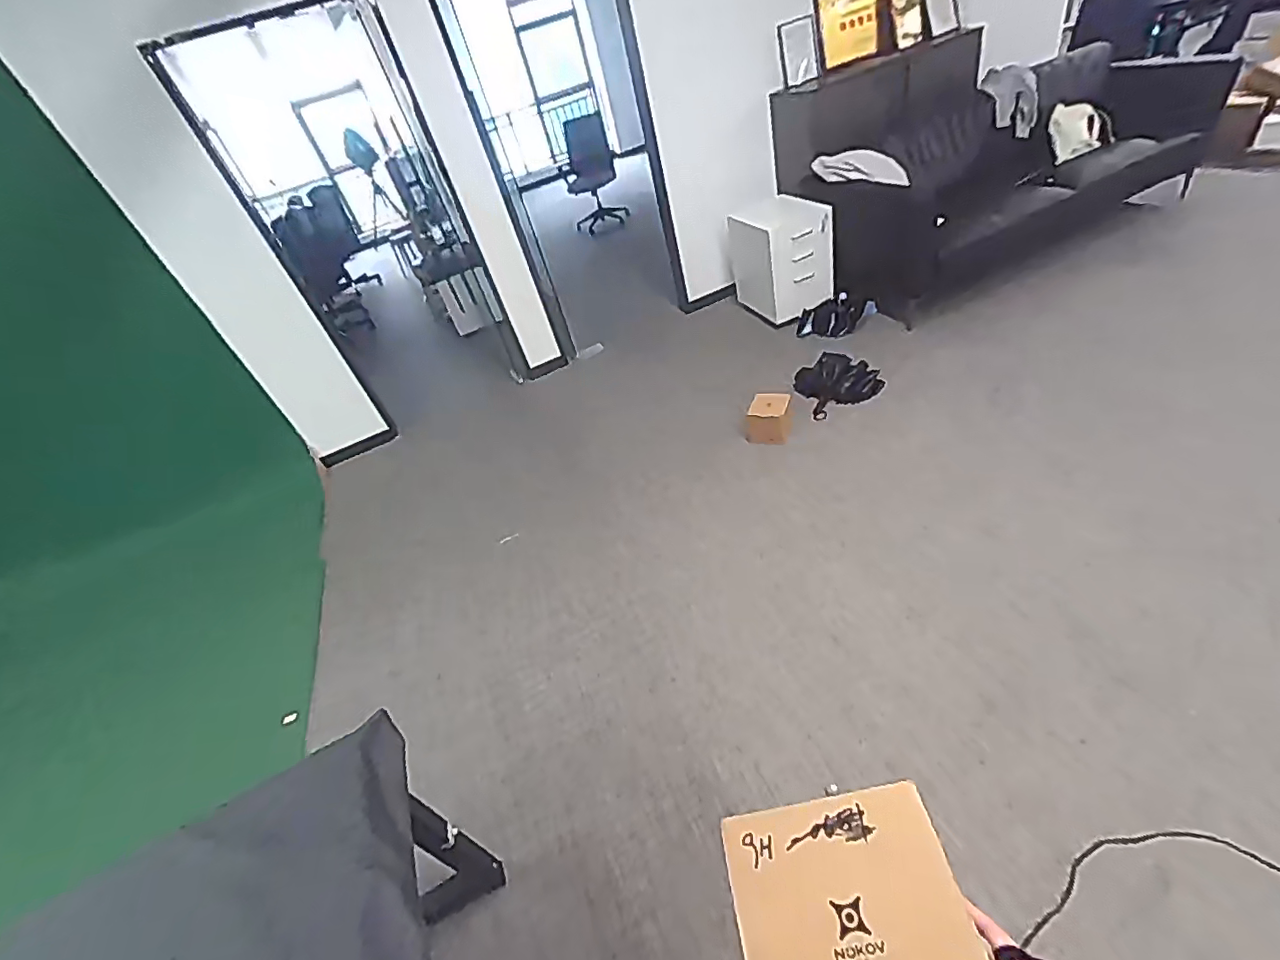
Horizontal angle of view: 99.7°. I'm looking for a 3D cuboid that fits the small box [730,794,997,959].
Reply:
[{"bbox_3d":[0.185,0.384,0.437,0.168,0.176,0.179,-17,44,8],"label":"small box"}]
